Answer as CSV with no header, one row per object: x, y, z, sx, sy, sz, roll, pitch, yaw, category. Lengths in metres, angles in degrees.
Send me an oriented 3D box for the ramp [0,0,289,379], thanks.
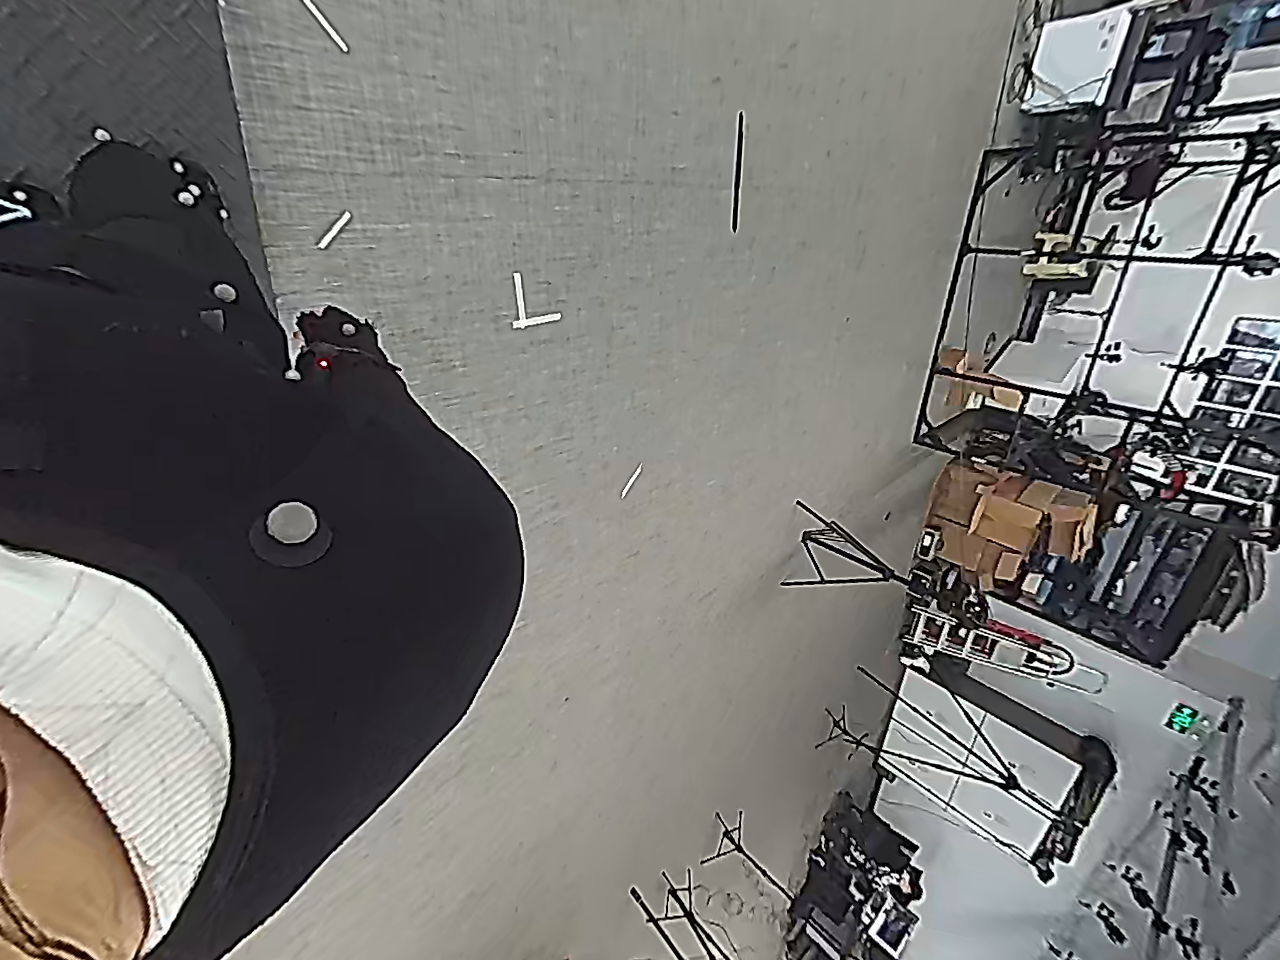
-0.931,-0.663,0.850,0.509,0.206,0.991,-23,124,-38,ramp
